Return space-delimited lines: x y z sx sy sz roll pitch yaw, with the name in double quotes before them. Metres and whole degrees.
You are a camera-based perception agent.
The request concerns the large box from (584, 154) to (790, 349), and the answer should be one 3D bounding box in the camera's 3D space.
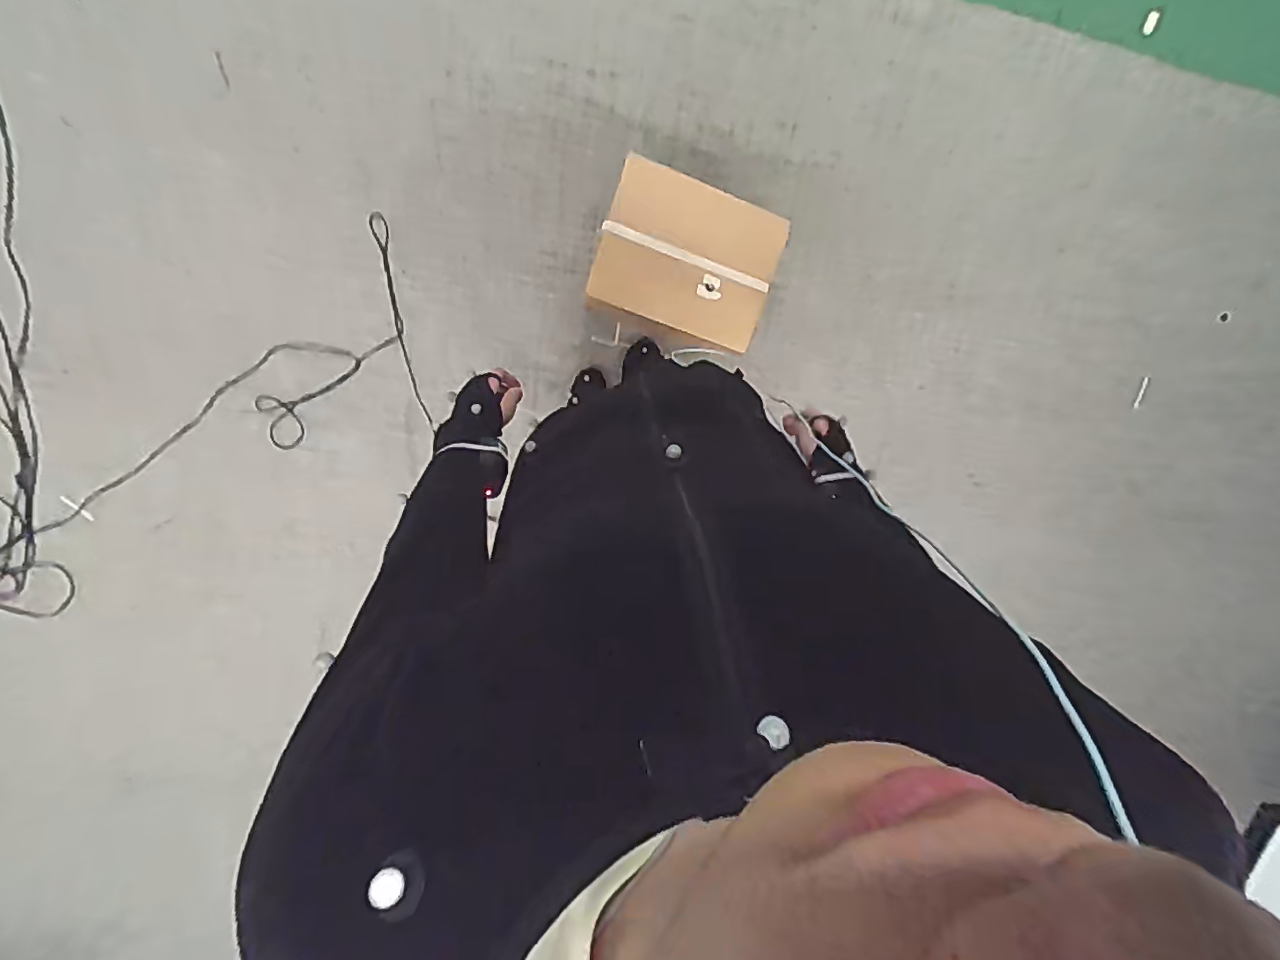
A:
"large box" 0.092 -0.544 1.368 0.408 0.320 0.320 17 102 -11
